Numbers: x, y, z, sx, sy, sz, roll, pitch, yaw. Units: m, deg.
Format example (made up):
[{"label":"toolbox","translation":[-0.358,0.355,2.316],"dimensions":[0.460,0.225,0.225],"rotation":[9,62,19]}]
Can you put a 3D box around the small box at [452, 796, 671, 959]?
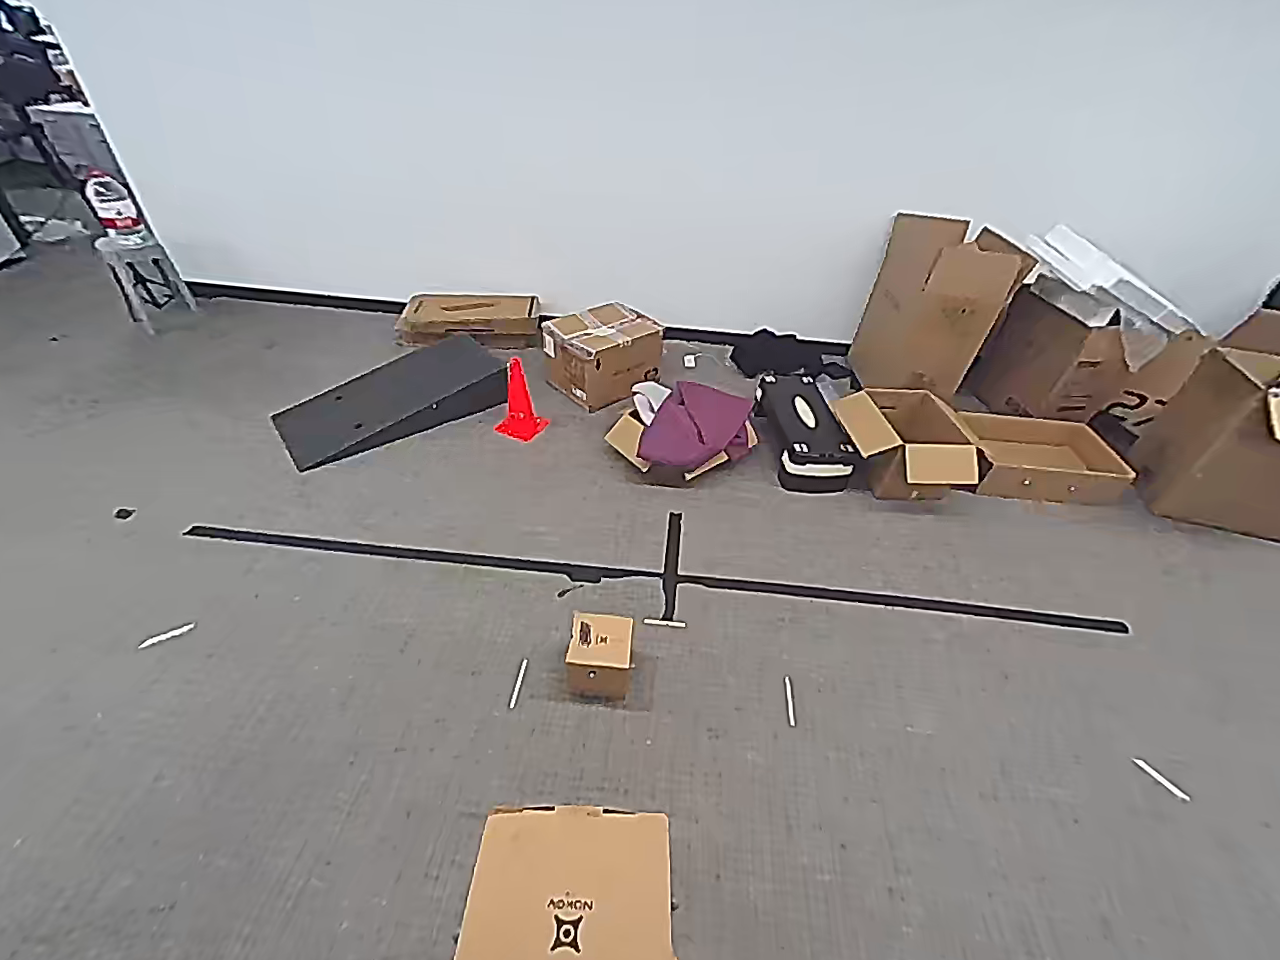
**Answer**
[{"label":"small box","translation":[-0.062,0.410,0.472],"dimensions":[0.168,0.176,0.179],"rotation":[2,34,-1]}]

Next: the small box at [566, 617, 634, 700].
[{"label":"small box","translation":[-0.114,0.523,1.581],"dimensions":[0.179,0.176,0.168],"rotation":[5,40,1]}]
